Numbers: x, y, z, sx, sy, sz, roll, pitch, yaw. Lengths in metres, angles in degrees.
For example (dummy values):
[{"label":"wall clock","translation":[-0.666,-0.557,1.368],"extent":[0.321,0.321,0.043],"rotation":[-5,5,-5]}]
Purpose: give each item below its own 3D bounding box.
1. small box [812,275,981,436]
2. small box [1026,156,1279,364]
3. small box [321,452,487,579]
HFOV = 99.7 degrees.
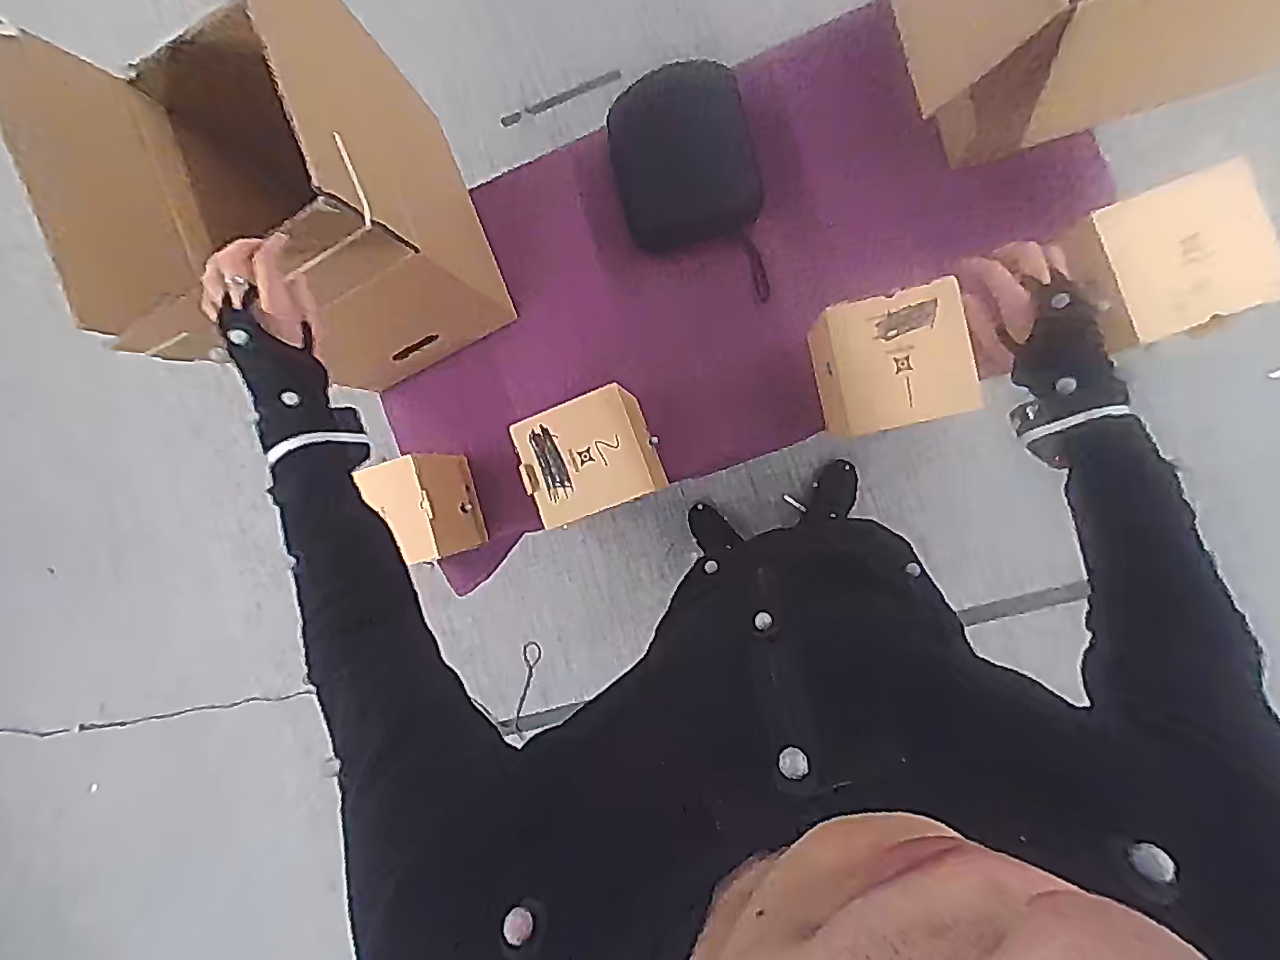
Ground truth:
[{"label":"small box","translation":[0.353,-0.165,0.778],"extent":[0.168,0.176,0.179],"rotation":[-11,90,10]},{"label":"small box","translation":[0.660,-0.274,0.717],"extent":[0.168,0.176,0.179],"rotation":[-19,88,11]},{"label":"small box","translation":[-0.389,0.057,0.915],"extent":[0.179,0.176,0.168],"rotation":[-17,88,9]}]
